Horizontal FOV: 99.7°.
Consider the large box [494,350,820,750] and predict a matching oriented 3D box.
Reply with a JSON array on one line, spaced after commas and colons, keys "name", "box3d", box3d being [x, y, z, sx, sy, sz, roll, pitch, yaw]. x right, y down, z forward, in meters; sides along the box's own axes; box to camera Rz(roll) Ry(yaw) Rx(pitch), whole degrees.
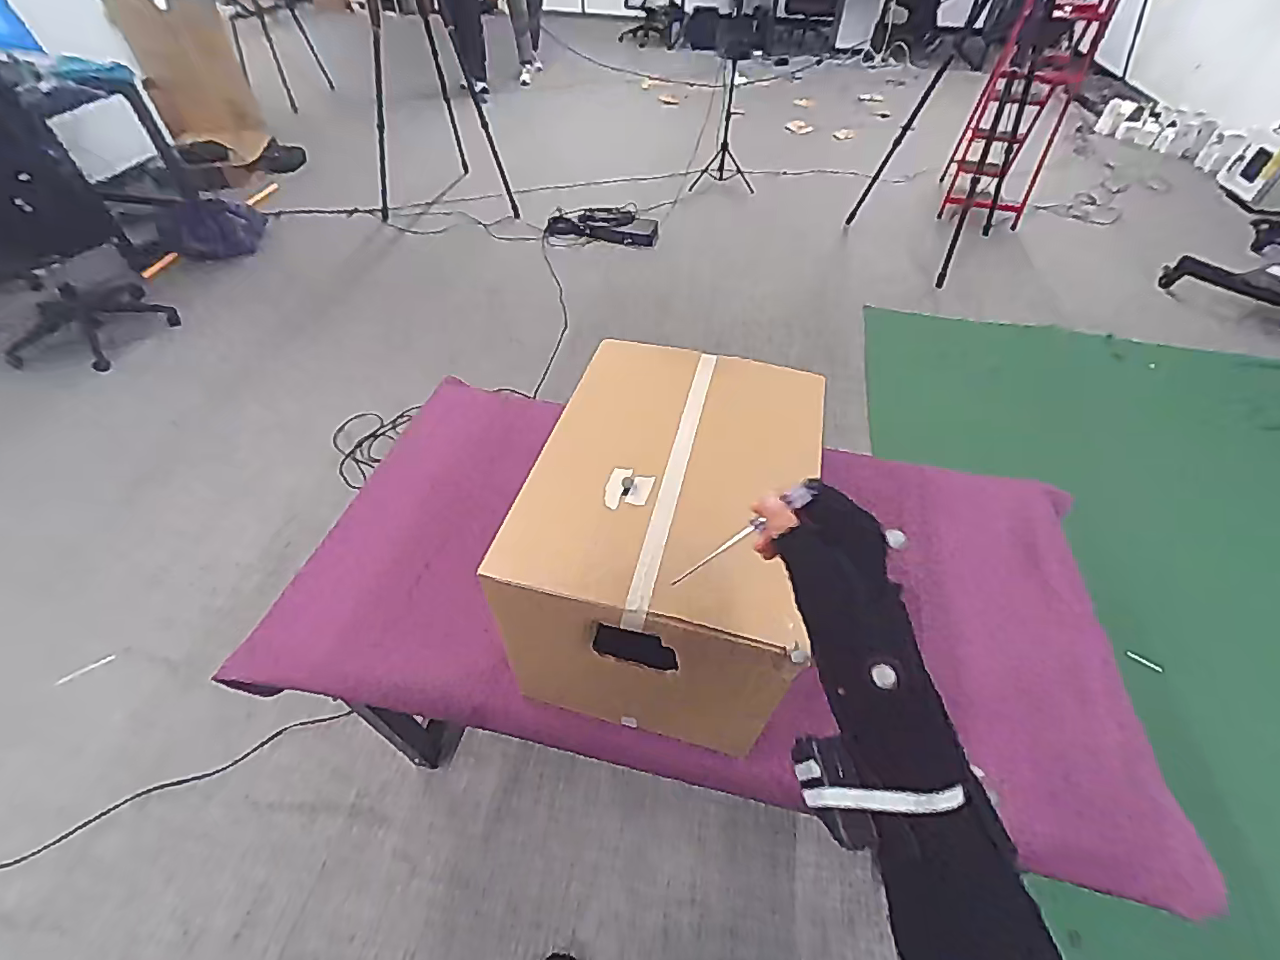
[{"name": "large box", "box3d": [0.043, 0.085, 0.744, 0.320, 0.320, 0.408, 12, 50, 9]}]
